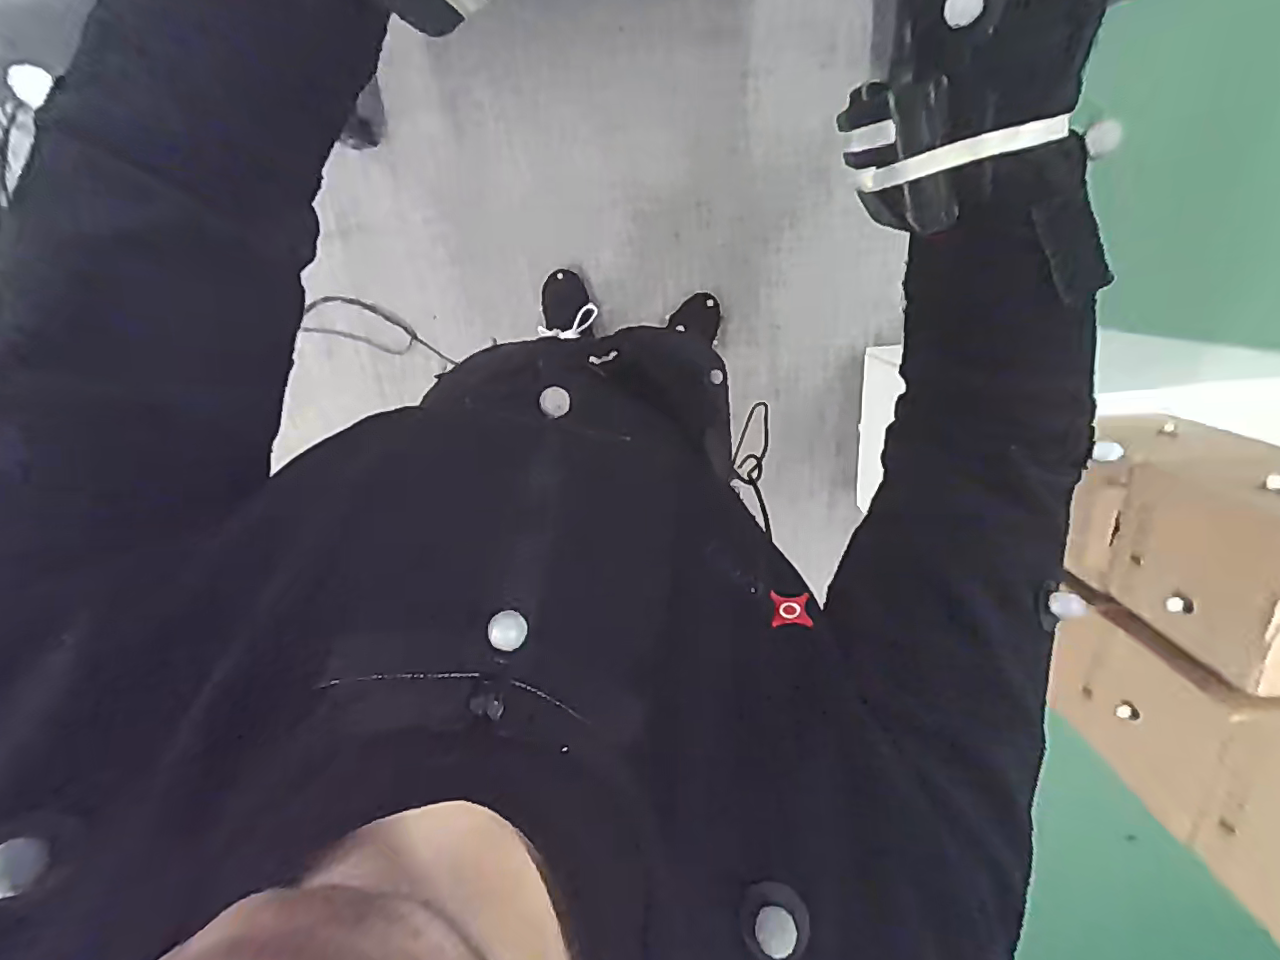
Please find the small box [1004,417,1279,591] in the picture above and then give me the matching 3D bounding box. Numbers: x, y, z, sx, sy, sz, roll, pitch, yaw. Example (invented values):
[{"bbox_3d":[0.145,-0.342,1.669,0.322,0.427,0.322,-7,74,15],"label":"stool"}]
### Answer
[{"bbox_3d":[0.604,0.023,0.684,0.179,0.176,0.168,-4,112,2],"label":"small box"}]
